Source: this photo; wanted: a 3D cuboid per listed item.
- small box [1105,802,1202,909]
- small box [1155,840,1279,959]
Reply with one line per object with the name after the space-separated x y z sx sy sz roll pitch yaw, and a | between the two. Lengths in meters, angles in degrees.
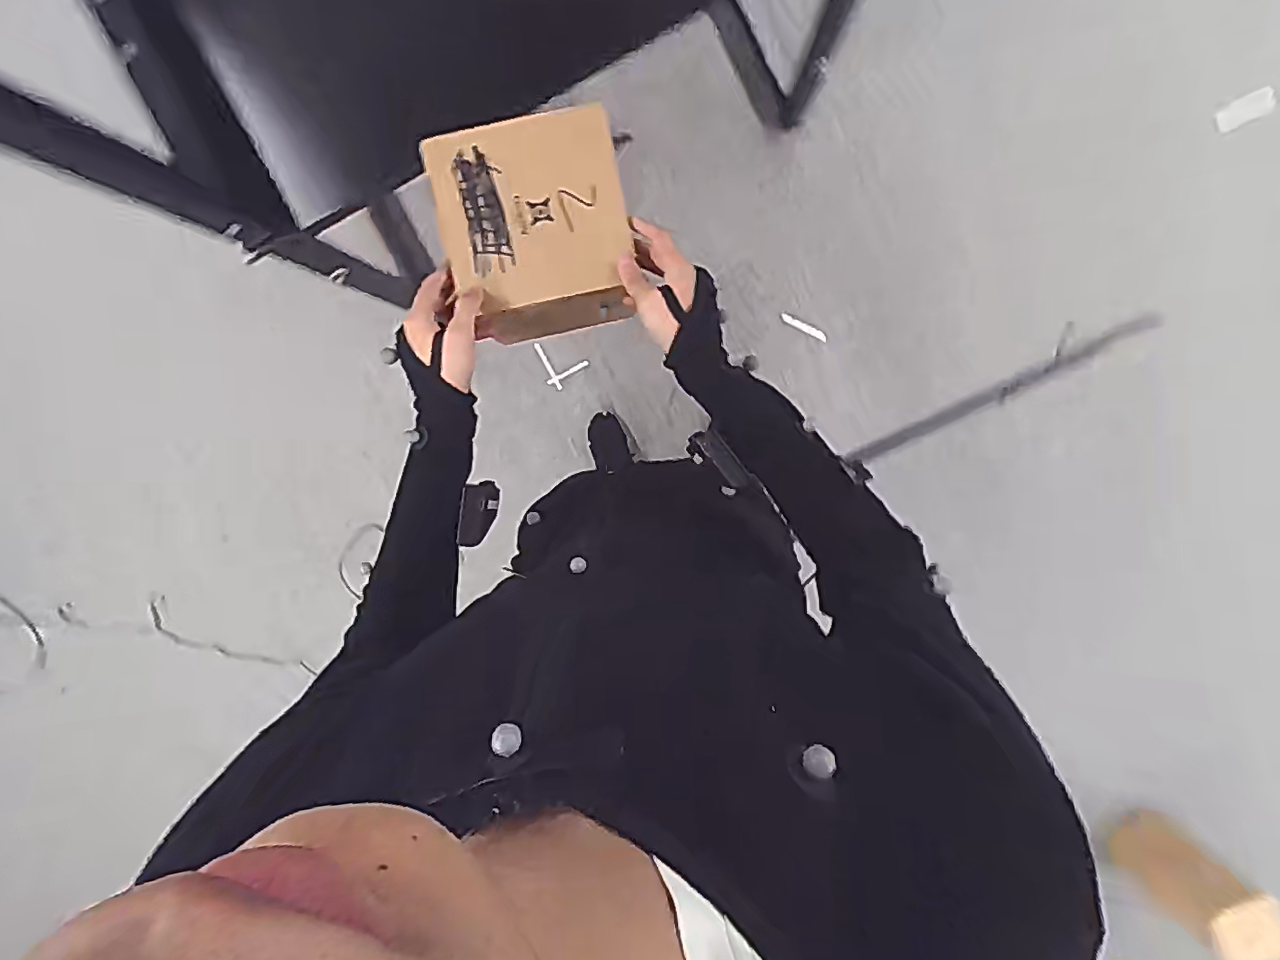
1.559 1.115 1.617 0.168 0.176 0.179 -25 95 4 | small box
1.559 1.127 1.453 0.168 0.176 0.179 -25 94 3 | small box
